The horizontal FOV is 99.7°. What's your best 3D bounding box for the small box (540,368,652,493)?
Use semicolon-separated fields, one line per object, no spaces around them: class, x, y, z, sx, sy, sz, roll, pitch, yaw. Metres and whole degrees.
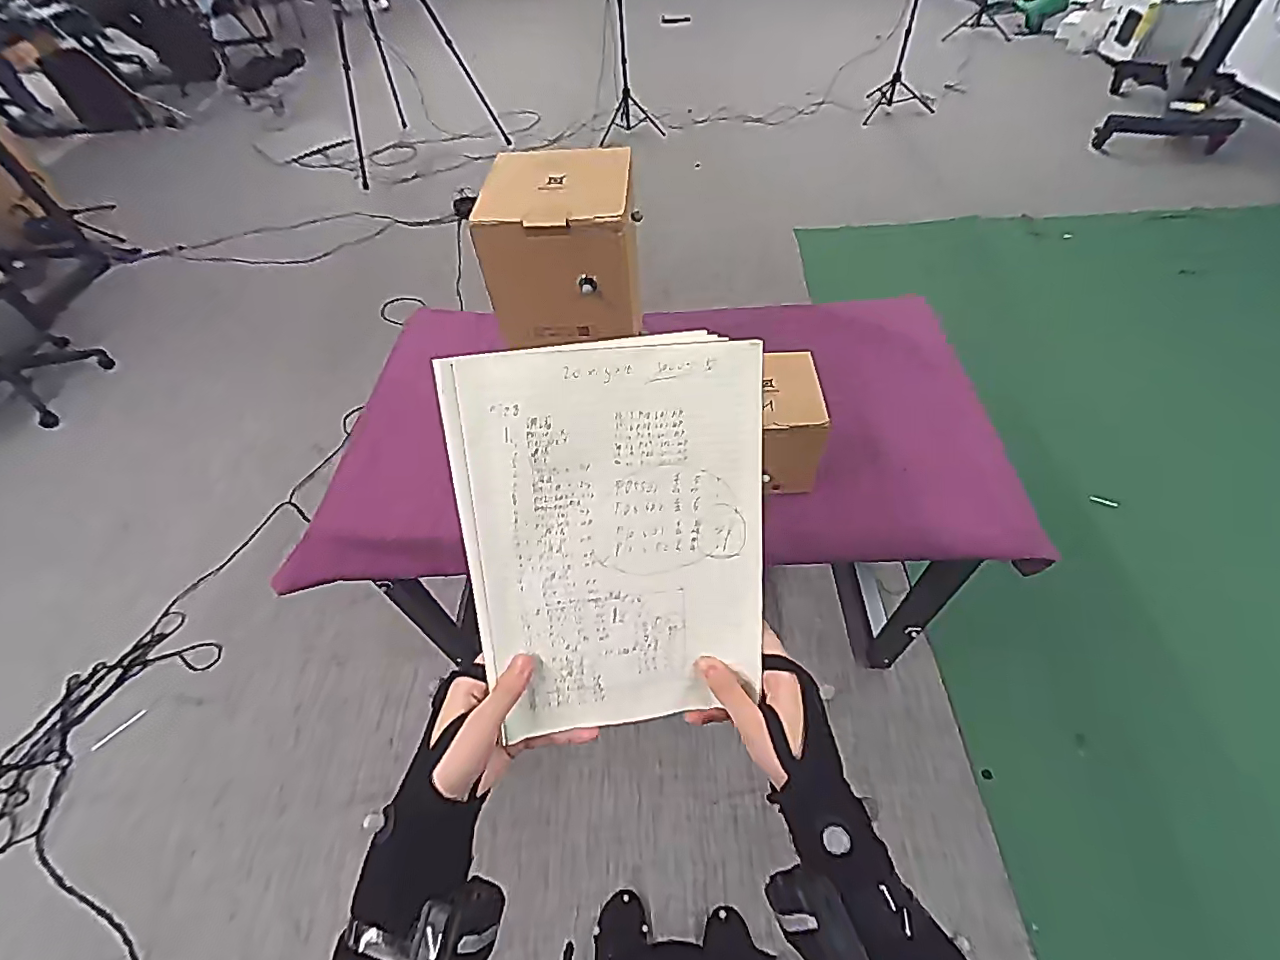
small box;-0.066;-0.089;0.944;0.168;0.176;0.179;0;53;4

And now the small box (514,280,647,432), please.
small box;-0.076;-0.185;0.811;0.168;0.176;0.179;-1;51;4

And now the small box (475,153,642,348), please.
small box;-0.086;-0.282;0.679;0.168;0.176;0.179;1;52;4
